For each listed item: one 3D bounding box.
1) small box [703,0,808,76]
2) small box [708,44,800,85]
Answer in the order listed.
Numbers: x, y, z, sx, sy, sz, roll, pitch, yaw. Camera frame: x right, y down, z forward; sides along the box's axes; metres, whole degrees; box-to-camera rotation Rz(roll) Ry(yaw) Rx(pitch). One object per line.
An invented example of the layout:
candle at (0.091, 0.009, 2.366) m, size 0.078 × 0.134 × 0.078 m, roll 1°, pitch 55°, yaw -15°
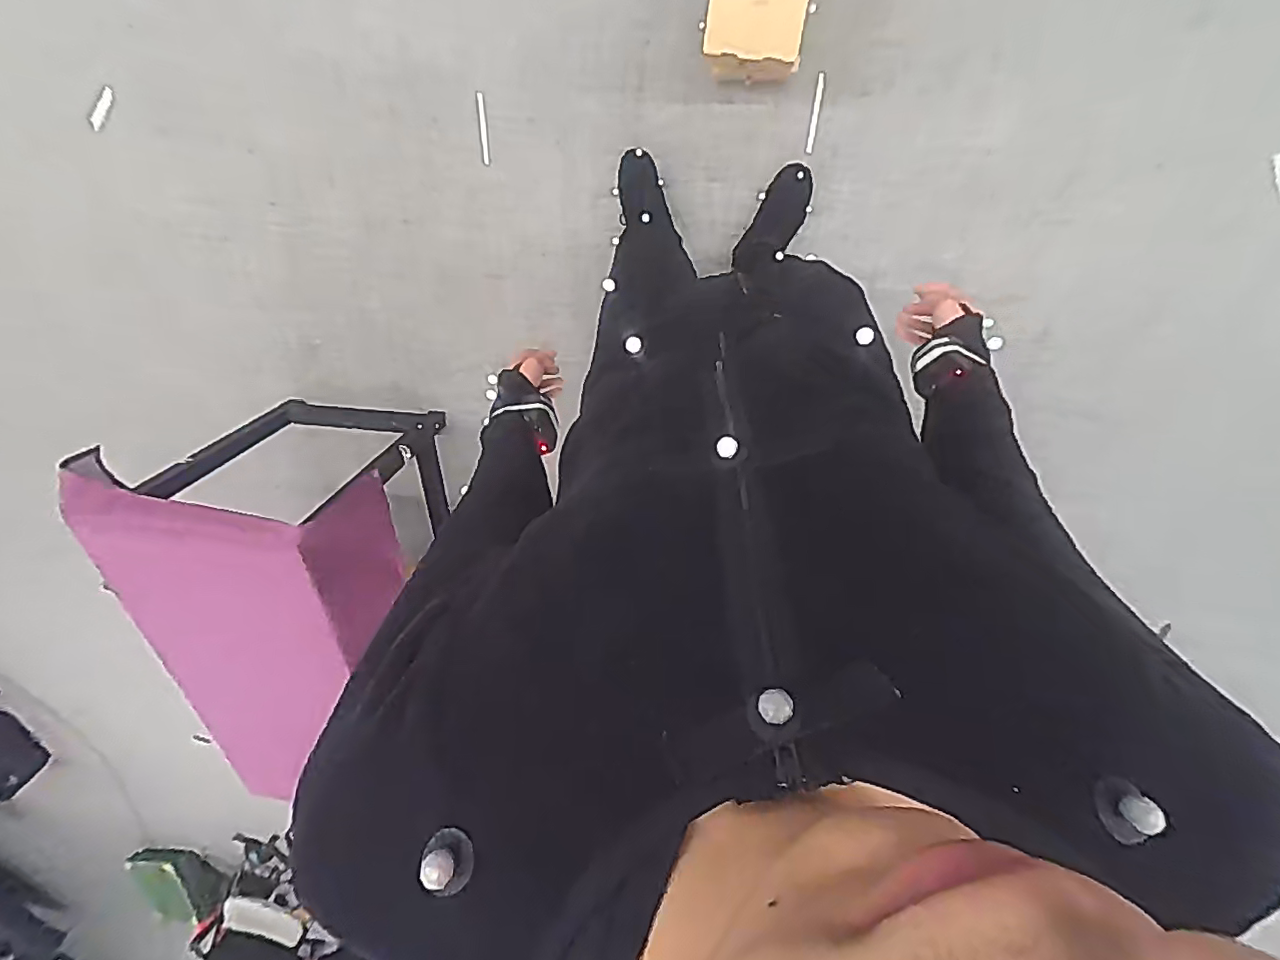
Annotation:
small box at (0.209, -0.849, 0.970) m, size 0.168 × 0.176 × 0.179 m, roll 9°, pitch 124°, yaw 4°
small box at (0.237, -0.924, 1.112) m, size 0.179 × 0.176 × 0.168 m, roll 5°, pitch 123°, yaw 8°
